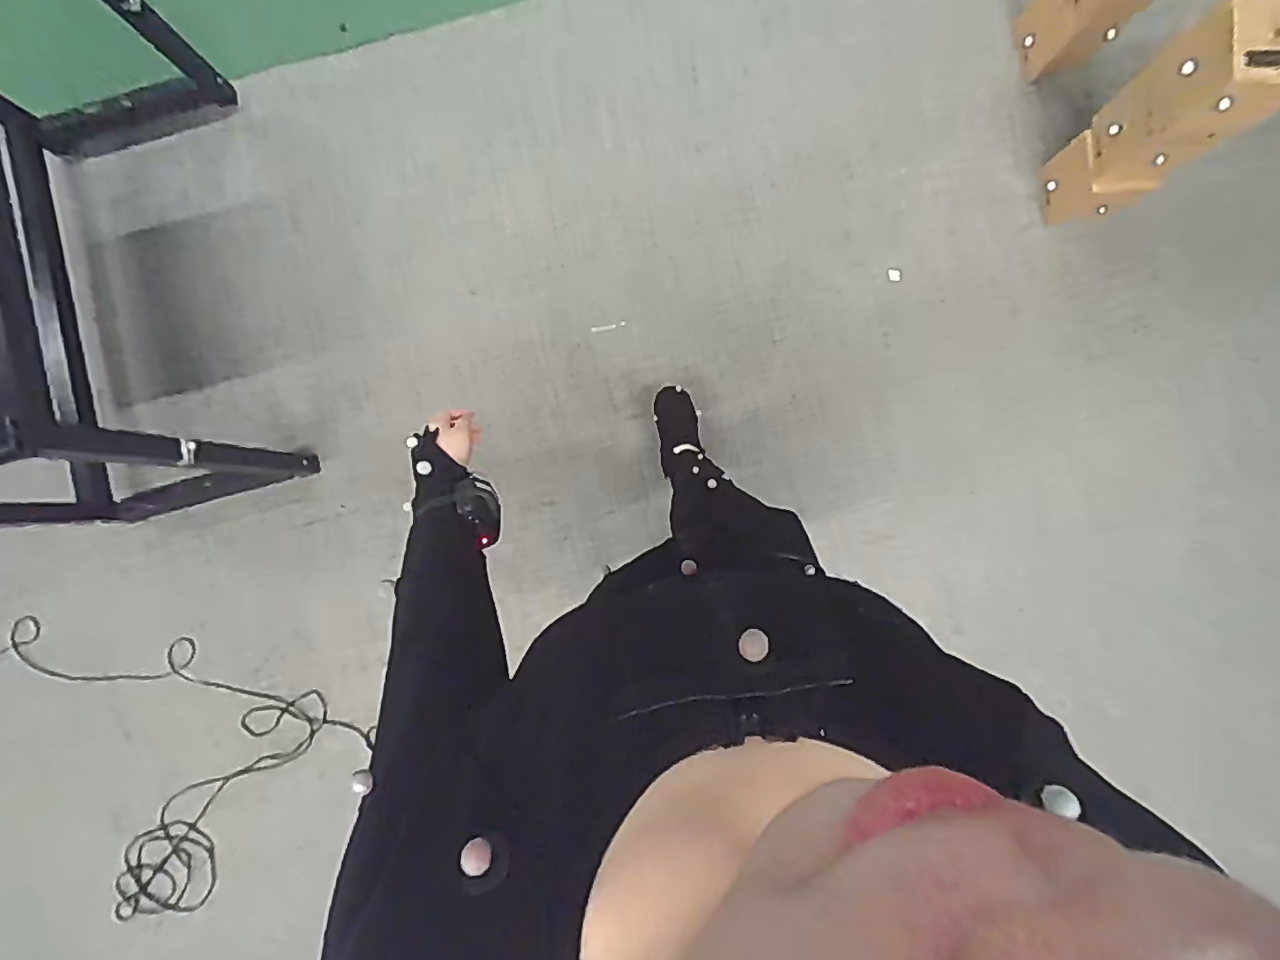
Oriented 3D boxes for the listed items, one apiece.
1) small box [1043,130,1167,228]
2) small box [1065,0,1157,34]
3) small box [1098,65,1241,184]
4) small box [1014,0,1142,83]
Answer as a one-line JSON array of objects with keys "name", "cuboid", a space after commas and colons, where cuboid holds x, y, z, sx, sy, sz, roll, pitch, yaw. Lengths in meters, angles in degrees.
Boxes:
[{"name": "small box", "cuboid": [1.195, -0.778, 1.401, 0.179, 0.176, 0.168, -4, 87, 2]}, {"name": "small box", "cuboid": [1.141, -1.205, 1.260, 0.179, 0.176, 0.168, -18, 86, 1]}, {"name": "small box", "cuboid": [1.197, -0.805, 1.239, 0.179, 0.176, 0.168, 0, 87, 3]}, {"name": "small box", "cuboid": [1.141, -1.201, 1.422, 0.179, 0.176, 0.168, -18, 87, 1]}]
